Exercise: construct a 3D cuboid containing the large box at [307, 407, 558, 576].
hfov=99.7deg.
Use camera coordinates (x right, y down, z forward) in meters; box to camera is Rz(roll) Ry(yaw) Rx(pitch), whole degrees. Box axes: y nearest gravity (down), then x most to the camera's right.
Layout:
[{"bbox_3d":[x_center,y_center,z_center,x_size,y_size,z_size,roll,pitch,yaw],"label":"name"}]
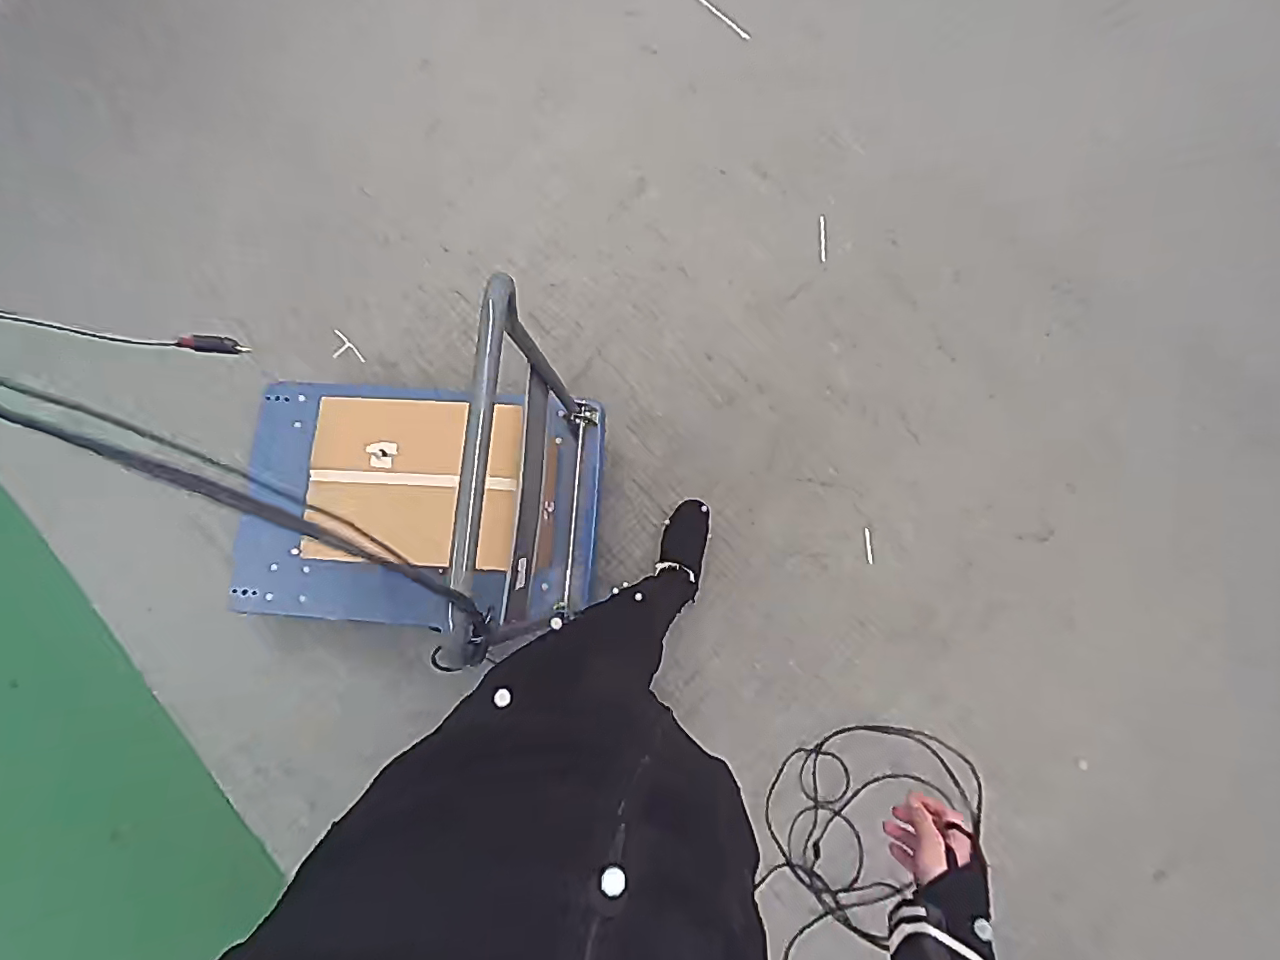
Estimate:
[{"bbox_3d":[-0.405,0.036,1.155,0.408,0.320,0.320,2,81,3],"label":"large box"}]
